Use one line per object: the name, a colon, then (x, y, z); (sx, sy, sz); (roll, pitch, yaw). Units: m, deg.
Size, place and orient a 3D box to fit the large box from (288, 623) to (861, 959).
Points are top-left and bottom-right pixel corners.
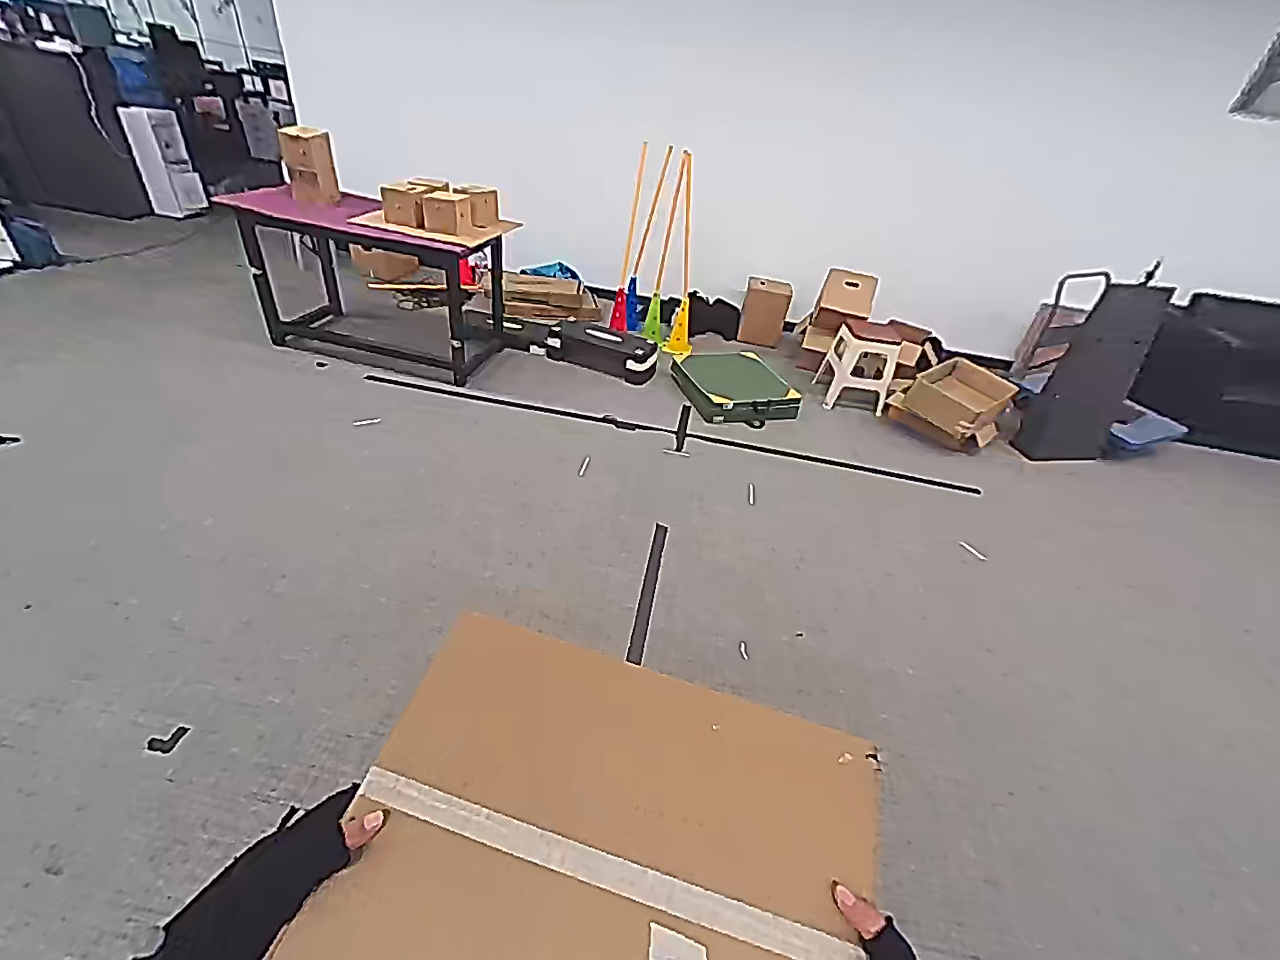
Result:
large box: (-0.040, 0.398, 0.543); (0.408, 0.320, 0.320); (16, 52, 7)
